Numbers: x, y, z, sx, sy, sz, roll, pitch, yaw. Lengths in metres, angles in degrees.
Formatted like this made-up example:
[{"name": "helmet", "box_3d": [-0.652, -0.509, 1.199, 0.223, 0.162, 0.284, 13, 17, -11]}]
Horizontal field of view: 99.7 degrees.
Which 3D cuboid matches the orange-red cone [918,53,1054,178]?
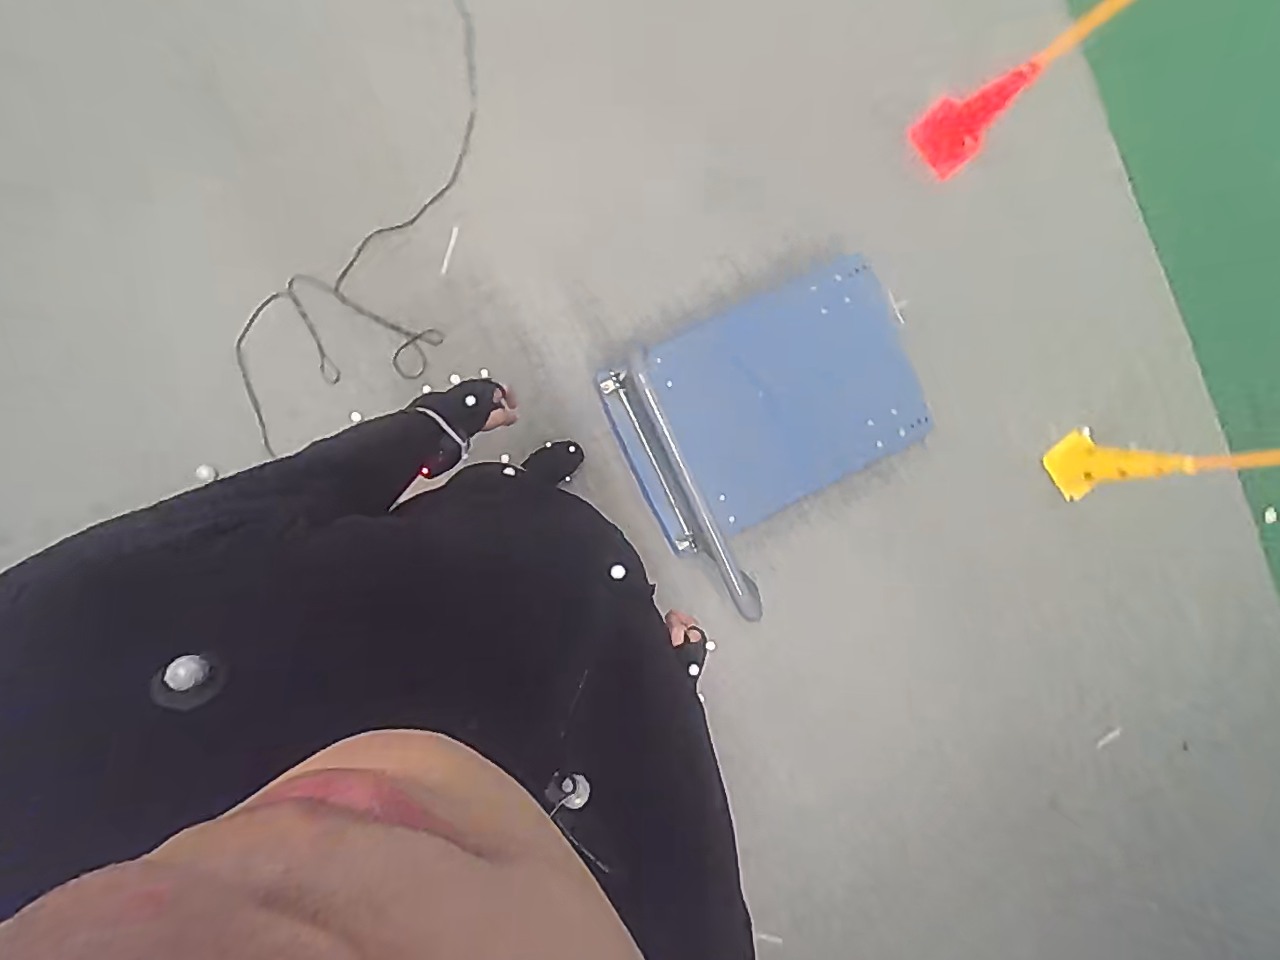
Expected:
[{"name": "orange-red cone", "box_3d": [1.037, -1.100, 1.581, 0.198, 0.360, 0.199, -41, 96, -5]}]
